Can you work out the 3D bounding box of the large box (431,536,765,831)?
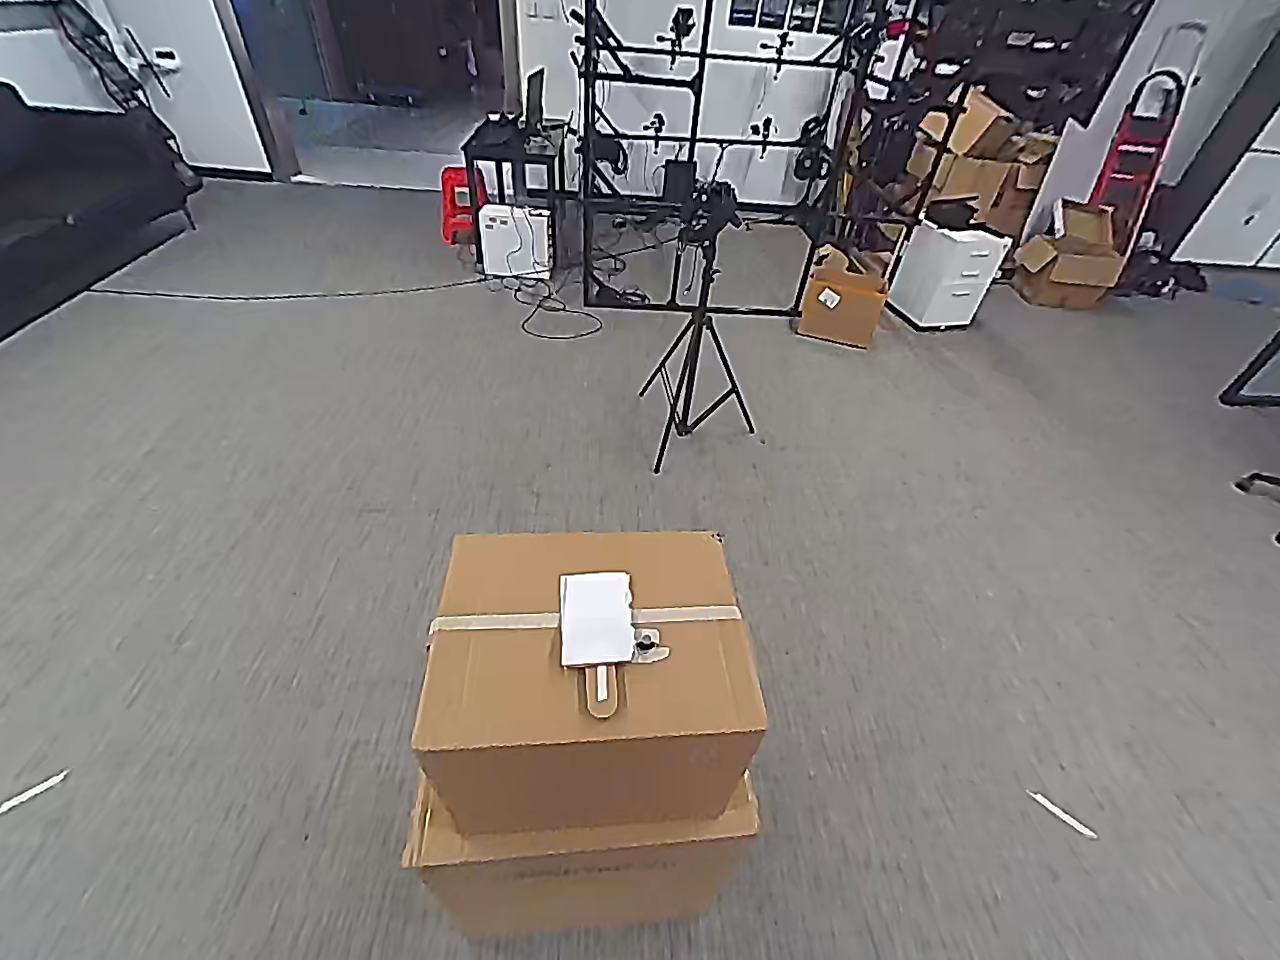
[{"bbox_3d":[-0.070,0.305,0.838,0.408,0.320,0.320,0,42,-7],"label":"large box"}]
